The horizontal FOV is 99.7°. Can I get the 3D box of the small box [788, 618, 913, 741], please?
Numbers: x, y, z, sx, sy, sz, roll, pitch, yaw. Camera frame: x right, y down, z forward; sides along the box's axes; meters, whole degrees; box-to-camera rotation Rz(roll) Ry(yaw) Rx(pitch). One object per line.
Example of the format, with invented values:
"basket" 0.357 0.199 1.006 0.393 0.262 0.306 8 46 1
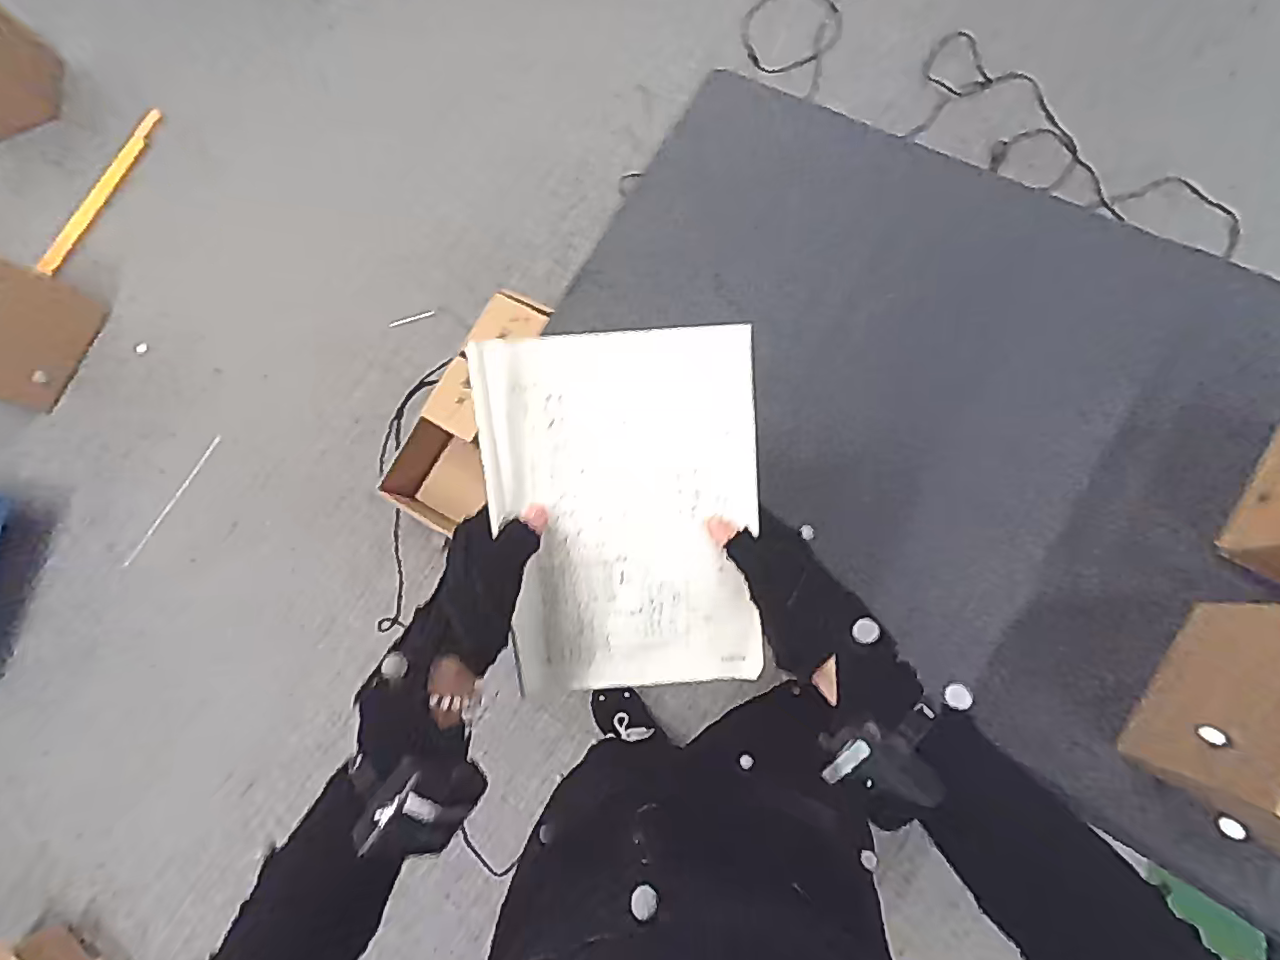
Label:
"small box" 0.442 0.428 1.167 0.179 0.176 0.168 -8 32 -13
